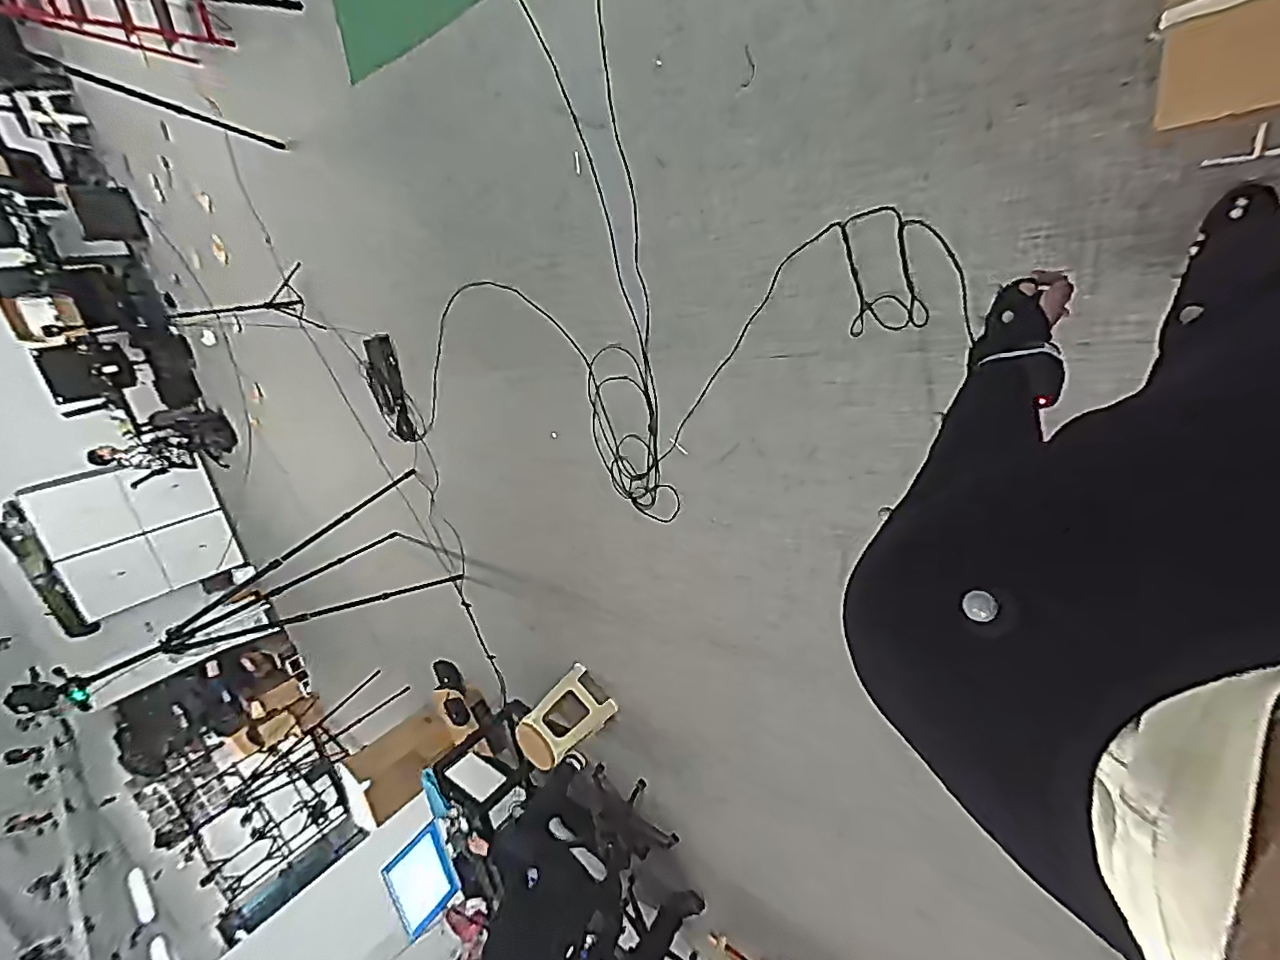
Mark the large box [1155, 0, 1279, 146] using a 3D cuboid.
[{"bbox_3d":[1.066,-0.748,0.809,0.408,0.320,0.320,6,114,39],"label":"large box"}]
